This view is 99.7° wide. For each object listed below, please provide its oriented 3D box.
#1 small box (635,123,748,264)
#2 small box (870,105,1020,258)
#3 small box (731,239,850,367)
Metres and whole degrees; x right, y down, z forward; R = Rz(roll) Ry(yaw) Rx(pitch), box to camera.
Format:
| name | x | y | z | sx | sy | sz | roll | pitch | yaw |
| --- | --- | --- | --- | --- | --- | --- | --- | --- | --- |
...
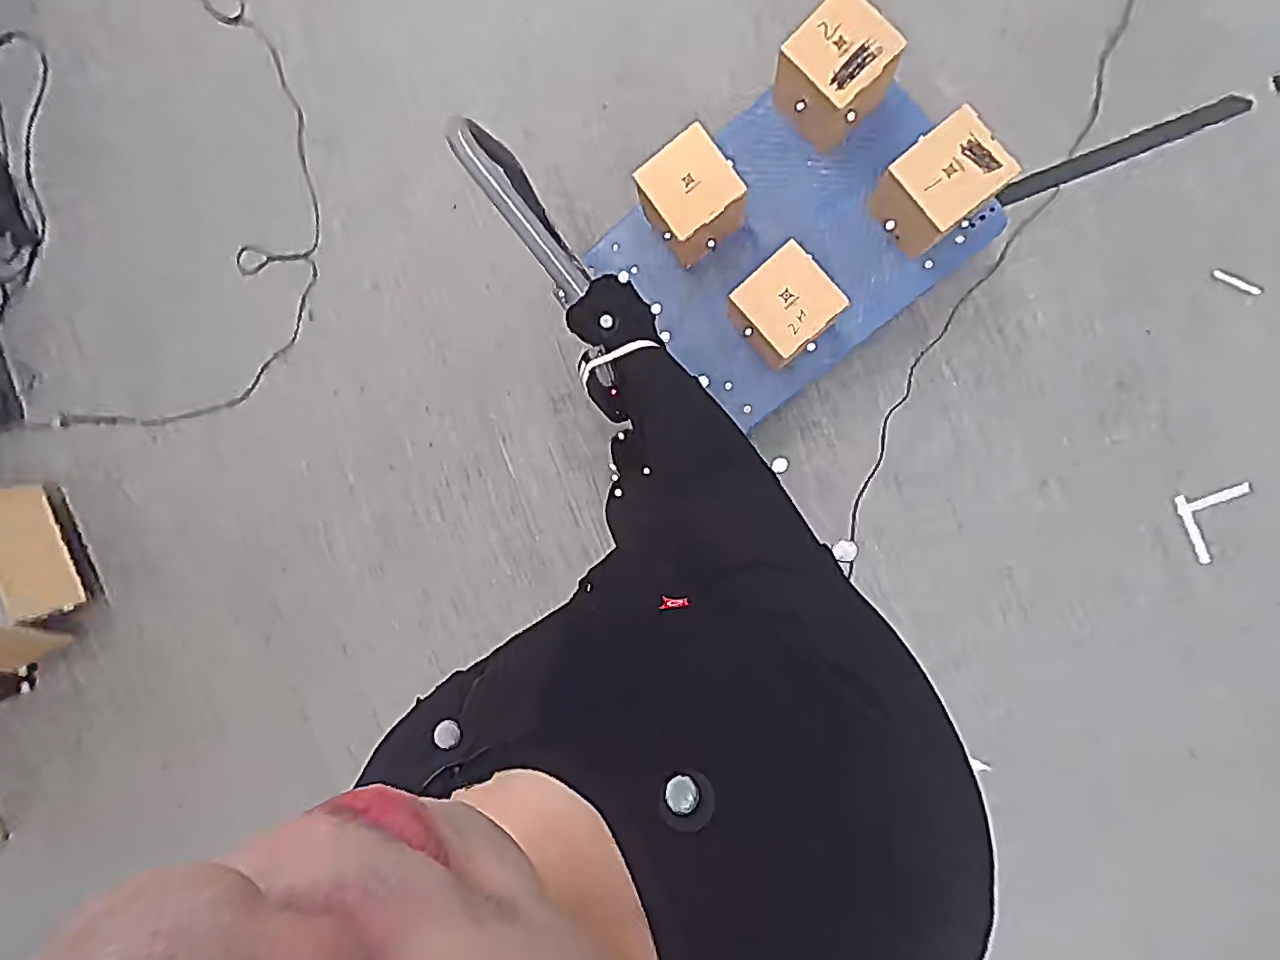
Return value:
| name | x | y | z | sx | sy | sz | roll | pitch | yaw |
| --- | --- | --- | --- | --- | --- | --- | --- | --- | --- |
| small box | 0.111 | -0.603 | 1.164 | 0.168 | 0.176 | 0.179 | -36 | 89 | 8 |
| small box | 0.602 | -0.590 | 1.094 | 0.179 | 0.176 | 0.168 | -38 | 87 | 9 |
| small box | 0.306 | -0.363 | 1.149 | 0.168 | 0.176 | 0.179 | -41 | 87 | 8 |
